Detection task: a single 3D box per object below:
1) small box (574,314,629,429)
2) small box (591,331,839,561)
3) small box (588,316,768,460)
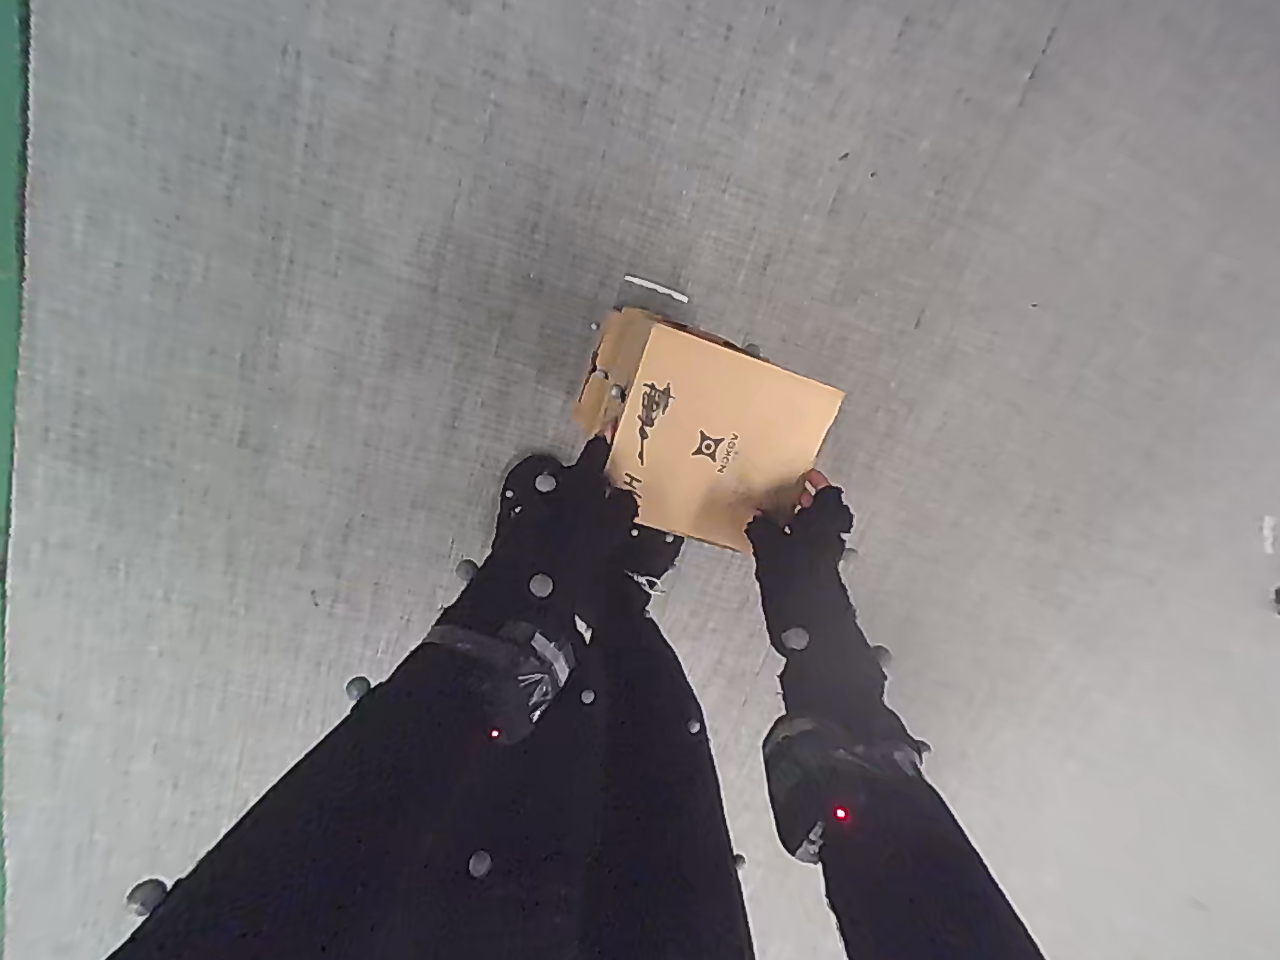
[{"bbox_3d":[0.006,-0.149,0.848,0.179,0.176,0.168,19,105,-12],"label":"small box"},{"bbox_3d":[0.058,-0.046,0.544,0.179,0.176,0.168,18,105,-11],"label":"small box"},{"bbox_3d":[0.036,-0.101,0.697,0.168,0.176,0.179,18,106,-10],"label":"small box"}]
